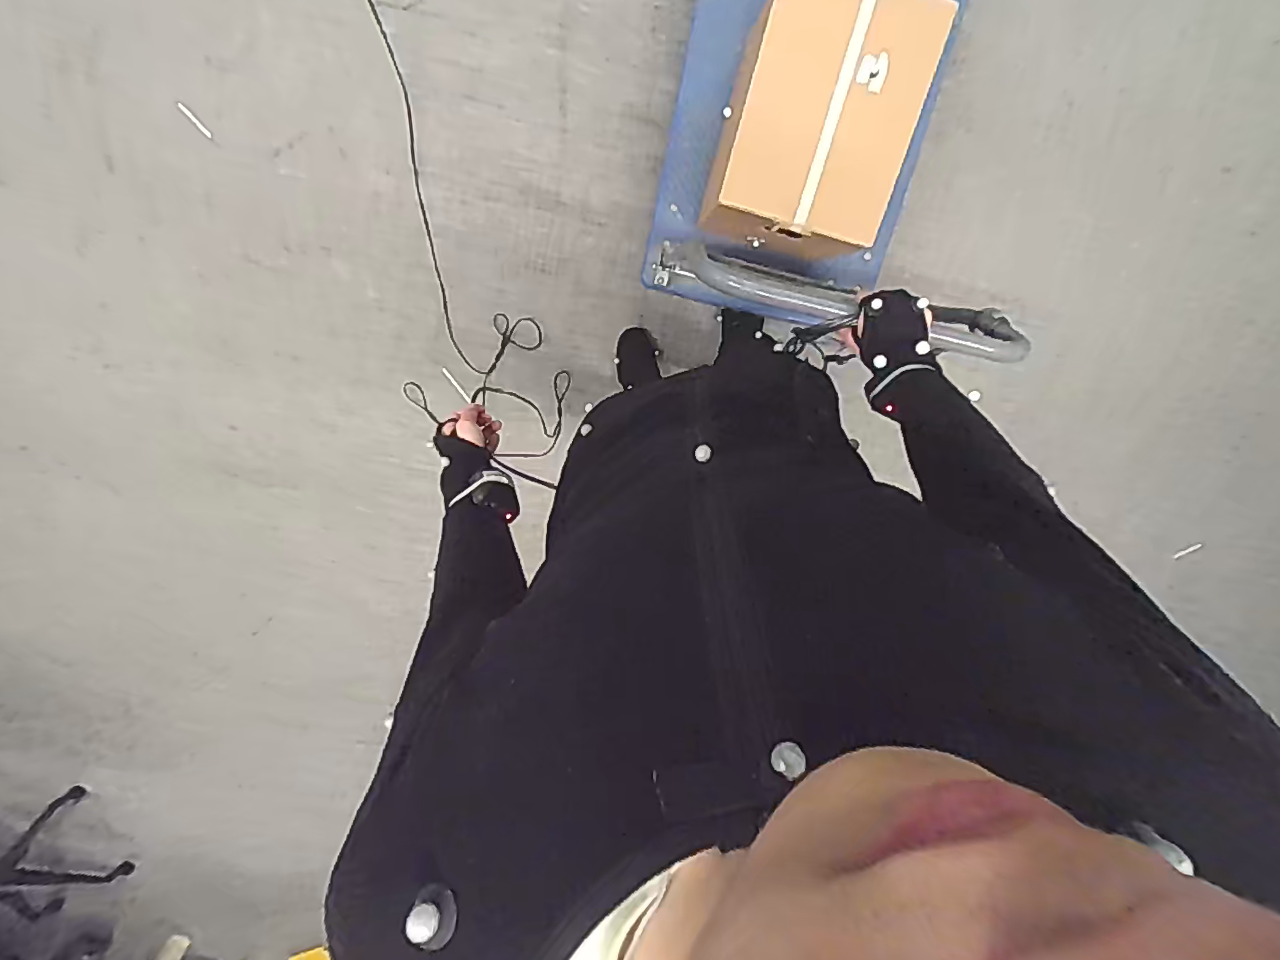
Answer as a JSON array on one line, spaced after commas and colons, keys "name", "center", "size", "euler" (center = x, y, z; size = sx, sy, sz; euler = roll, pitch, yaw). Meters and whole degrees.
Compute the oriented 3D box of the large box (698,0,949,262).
[{"name": "large box", "center": [0.330, -0.699, 1.099], "size": [0.320, 0.320, 0.408], "euler": [13, 106, -7]}]
